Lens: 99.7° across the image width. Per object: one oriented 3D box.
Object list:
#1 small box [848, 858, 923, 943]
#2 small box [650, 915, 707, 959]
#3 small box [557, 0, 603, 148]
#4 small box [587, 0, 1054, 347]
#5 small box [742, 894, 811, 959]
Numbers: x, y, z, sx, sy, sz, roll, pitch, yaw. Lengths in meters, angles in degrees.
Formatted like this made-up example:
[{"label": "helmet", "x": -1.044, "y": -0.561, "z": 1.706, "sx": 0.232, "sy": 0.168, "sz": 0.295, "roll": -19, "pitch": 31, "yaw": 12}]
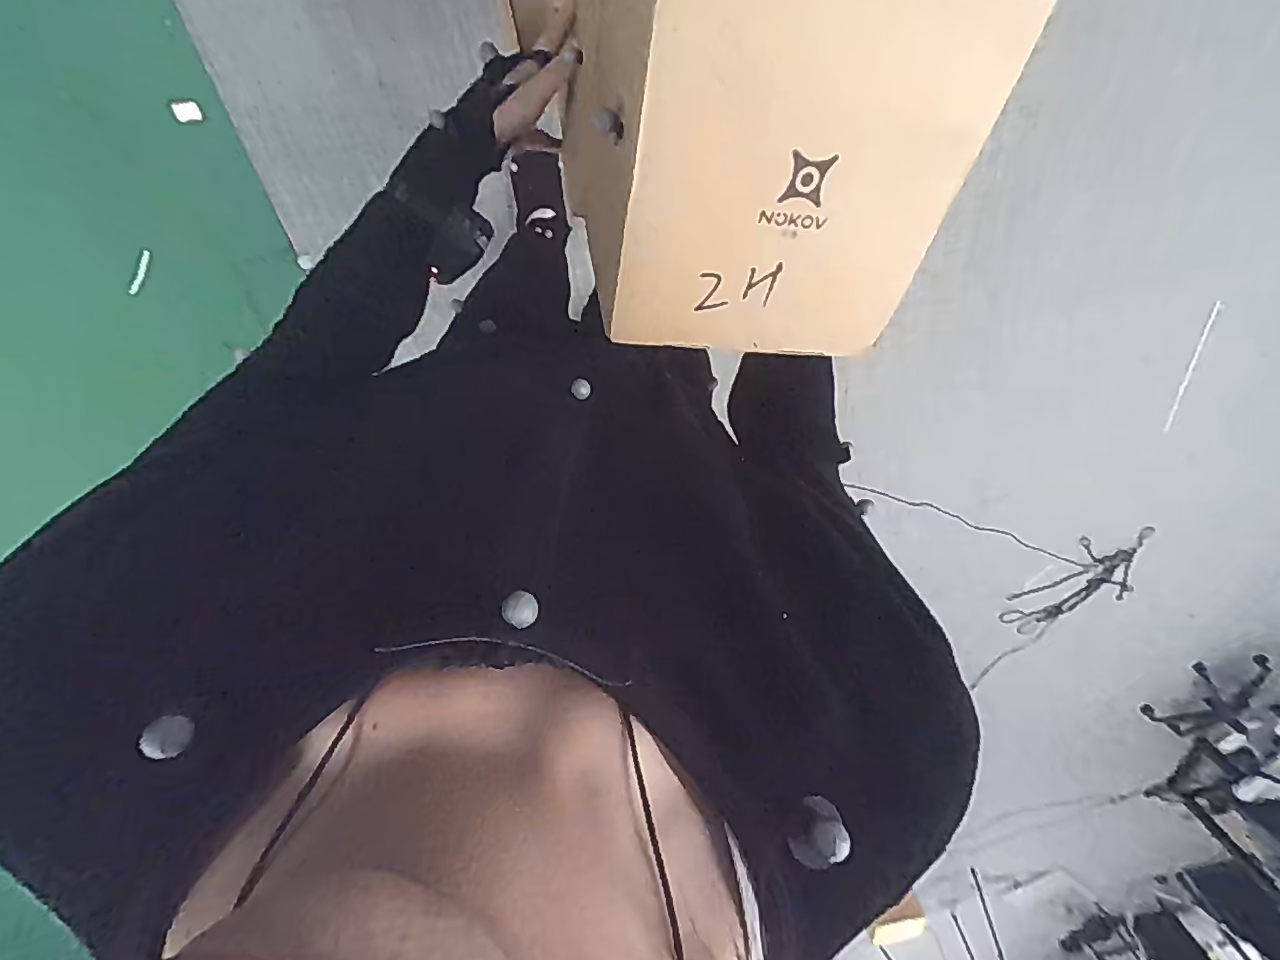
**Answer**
[{"label": "small box", "x": 0.809, "y": 1.401, "z": 1.803, "sx": 0.168, "sy": 0.176, "sz": 0.179, "roll": -12, "pitch": 124, "yaw": -1}, {"label": "small box", "x": 0.135, "y": 1.595, "z": 1.815, "sx": 0.168, "sy": 0.176, "sz": 0.179, "roll": -13, "pitch": 125, "yaw": -1}, {"label": "small box", "x": 0.009, "y": -0.438, "z": 0.528, "sx": 0.168, "sy": 0.176, "sz": 0.179, "roll": 0, "pitch": 137, "yaw": -14}, {"label": "small box", "x": 0.063, "y": -0.200, "z": 0.306, "sx": 0.168, "sy": 0.176, "sz": 0.179, "roll": 1, "pitch": 136, "yaw": -13}, {"label": "small box", "x": 0.454, "y": 1.532, "z": 1.829, "sx": 0.168, "sy": 0.176, "sz": 0.179, "roll": -3, "pitch": 124, "yaw": -7}]
